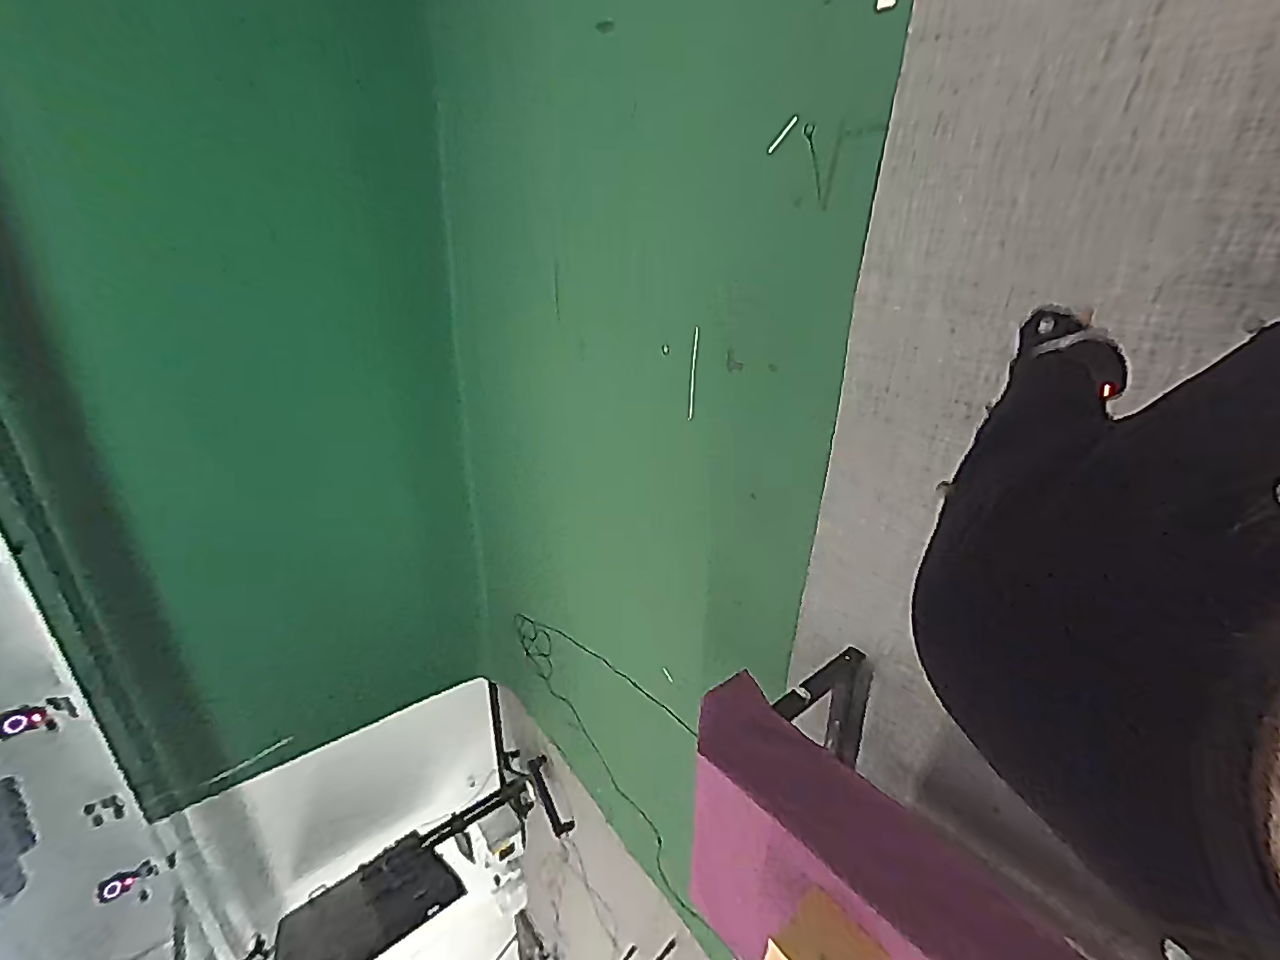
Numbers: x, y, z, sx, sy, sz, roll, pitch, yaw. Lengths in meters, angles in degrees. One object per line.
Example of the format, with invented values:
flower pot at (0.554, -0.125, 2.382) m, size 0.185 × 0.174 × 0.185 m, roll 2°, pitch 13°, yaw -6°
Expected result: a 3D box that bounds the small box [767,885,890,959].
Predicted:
small box at (0.385, 1.007, 1.120) m, size 0.179 × 0.176 × 0.168 m, roll 29°, pitch 125°, yaw 44°
